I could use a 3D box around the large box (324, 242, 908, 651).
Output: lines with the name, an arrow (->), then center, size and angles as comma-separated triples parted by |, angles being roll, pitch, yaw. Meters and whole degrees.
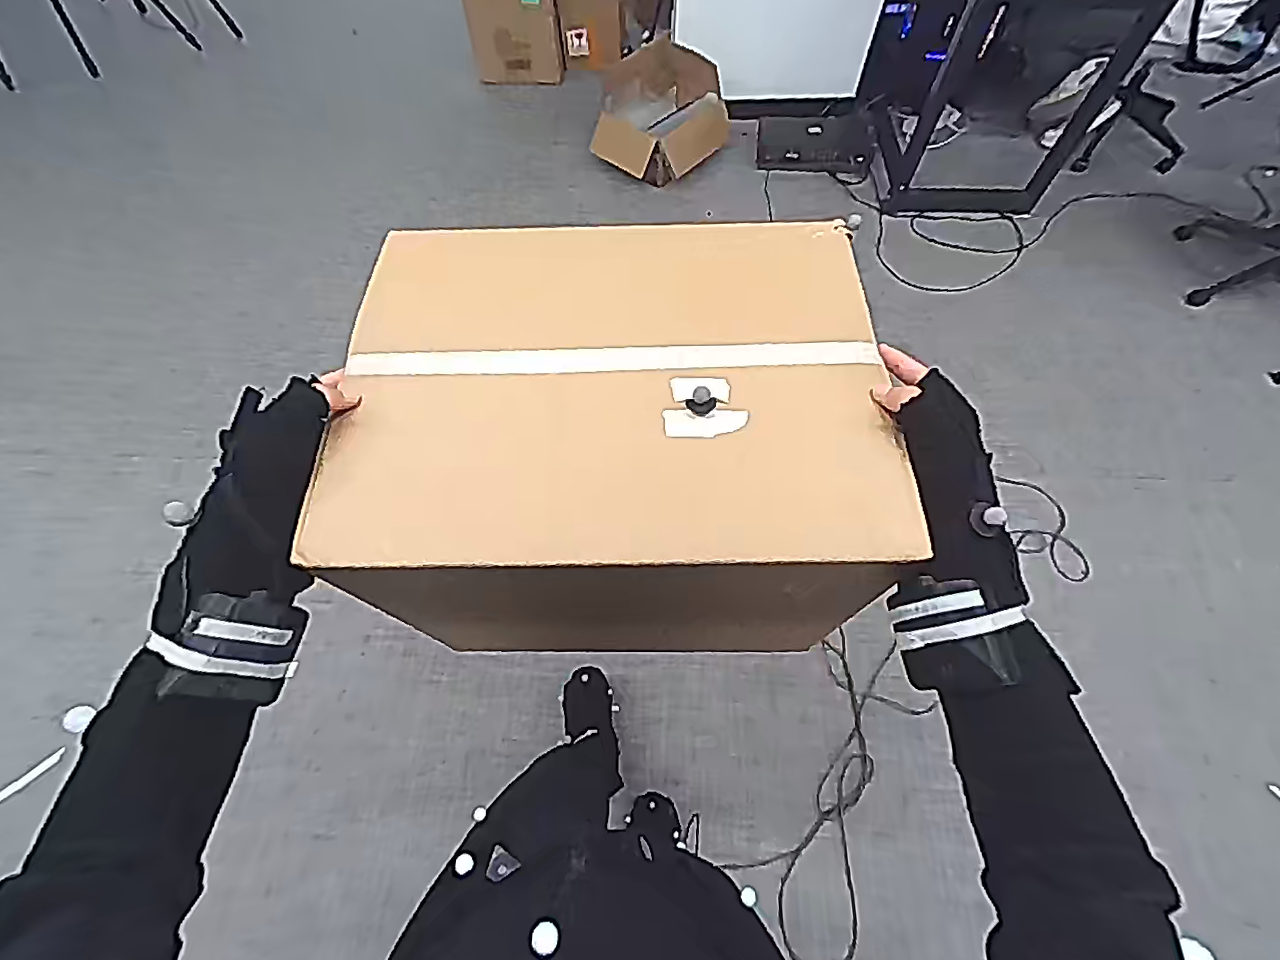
large box -> -0.017, -0.012, 0.561 | 0.408, 0.320, 0.320 | -1, 63, 1
